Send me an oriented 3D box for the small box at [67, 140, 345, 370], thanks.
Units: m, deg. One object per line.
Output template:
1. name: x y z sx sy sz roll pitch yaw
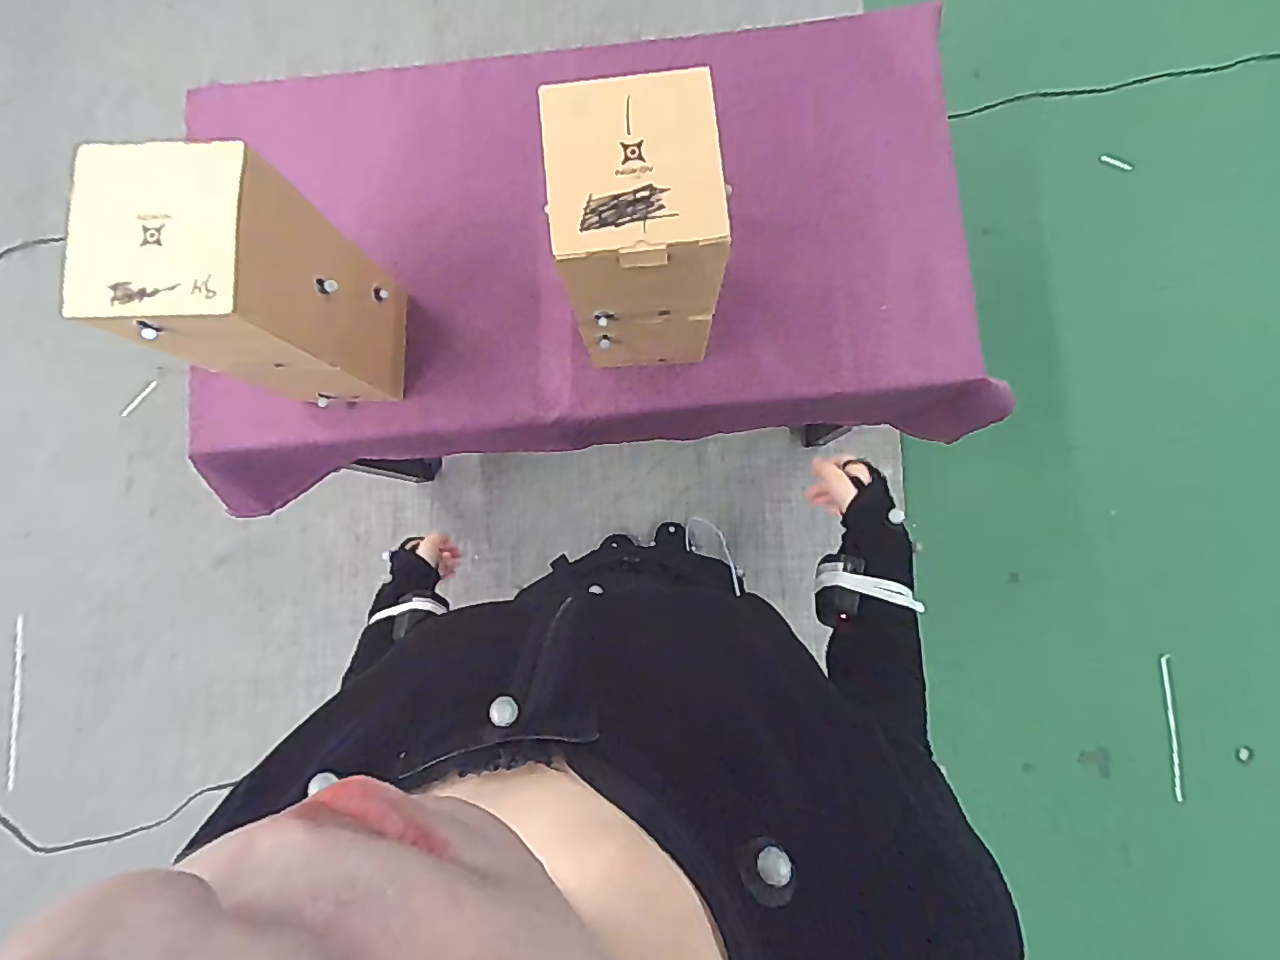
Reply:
1. small box: -0.452 -0.232 0.593 0.168 0.176 0.179 0 83 3

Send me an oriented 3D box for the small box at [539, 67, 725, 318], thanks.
1. small box: -0.005 -0.288 0.583 0.168 0.176 0.179 -6 83 1

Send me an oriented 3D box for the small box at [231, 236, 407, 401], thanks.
1. small box: -0.445 -0.217 0.758 0.168 0.176 0.179 0 85 3
